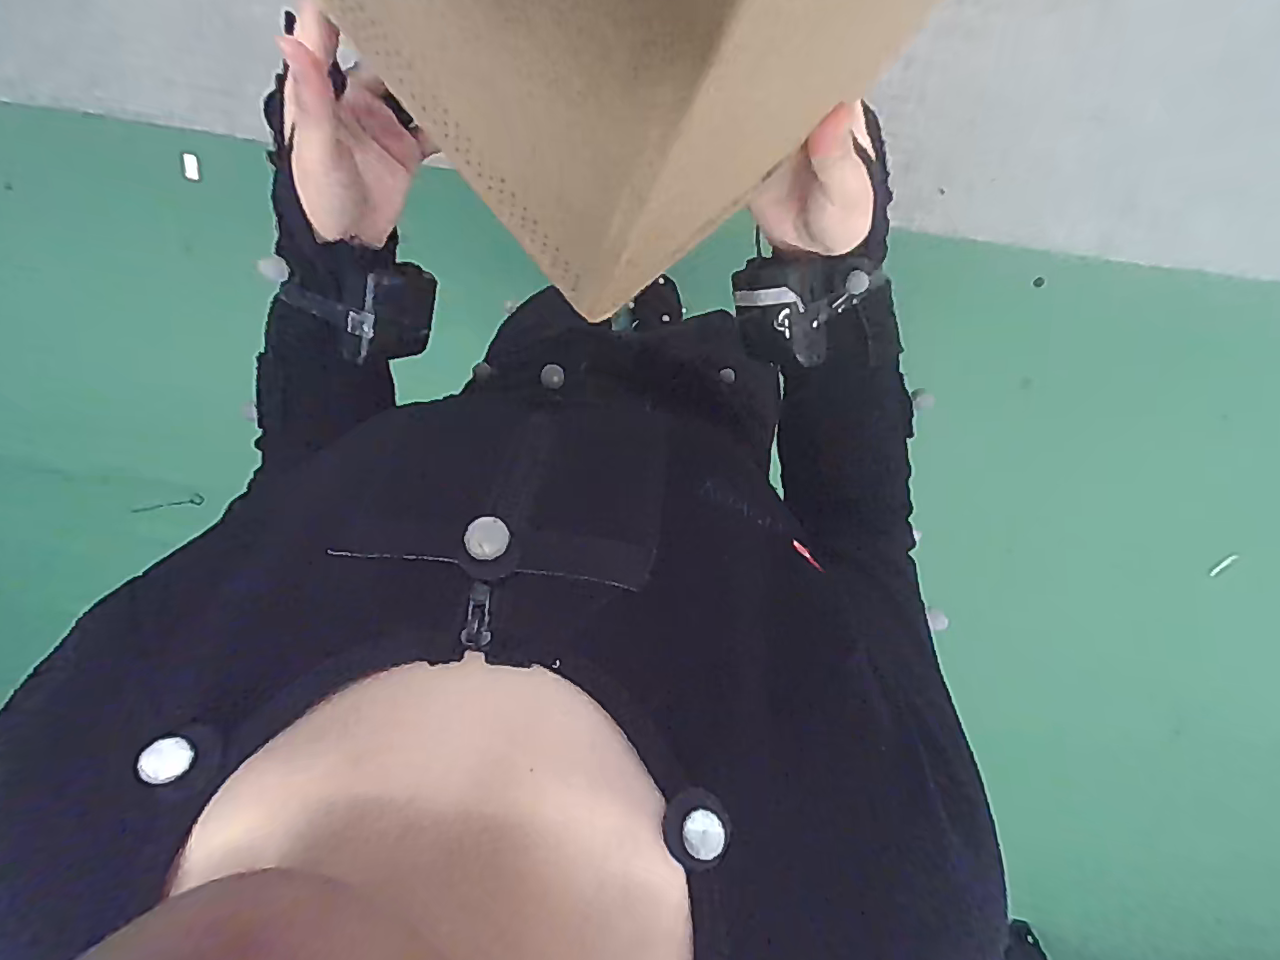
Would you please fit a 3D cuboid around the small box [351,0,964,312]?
[{"bbox_3d":[0.007,-0.189,0.176,0.168,0.176,0.179,-44,97,-11],"label":"small box"}]
